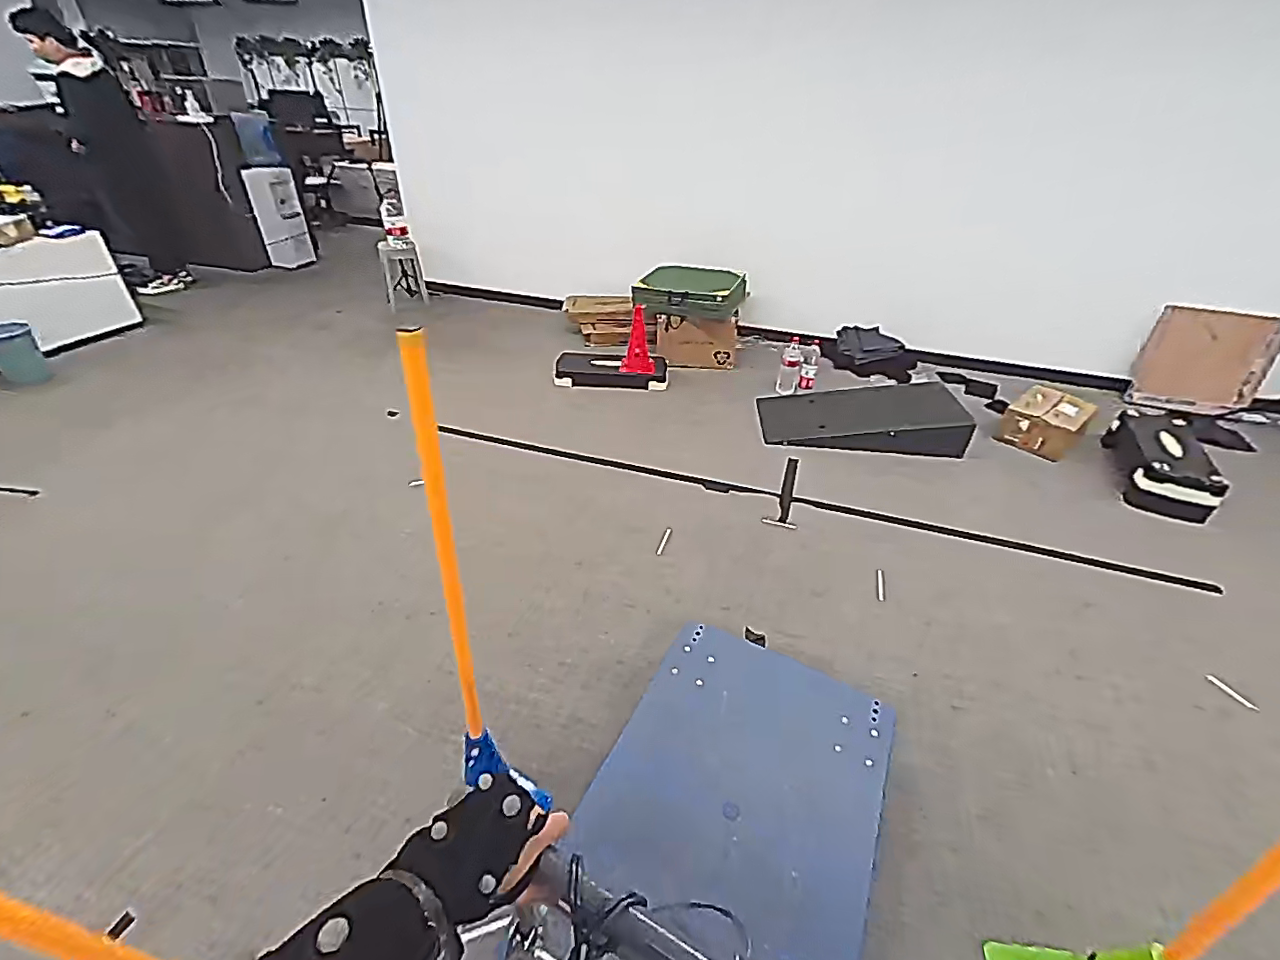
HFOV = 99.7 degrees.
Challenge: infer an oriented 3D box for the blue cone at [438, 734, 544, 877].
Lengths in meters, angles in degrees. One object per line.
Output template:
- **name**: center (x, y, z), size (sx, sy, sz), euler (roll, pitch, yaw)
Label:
- **blue cone**: center (-0.336, 0.654, 1.164), size (0.193, 0.380, 0.192), euler (22, 40, 25)

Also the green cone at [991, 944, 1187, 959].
- **green cone**: center (0.799, 0.869, 0.912), size (0.200, 0.368, 0.202), euler (4, 36, 3)
